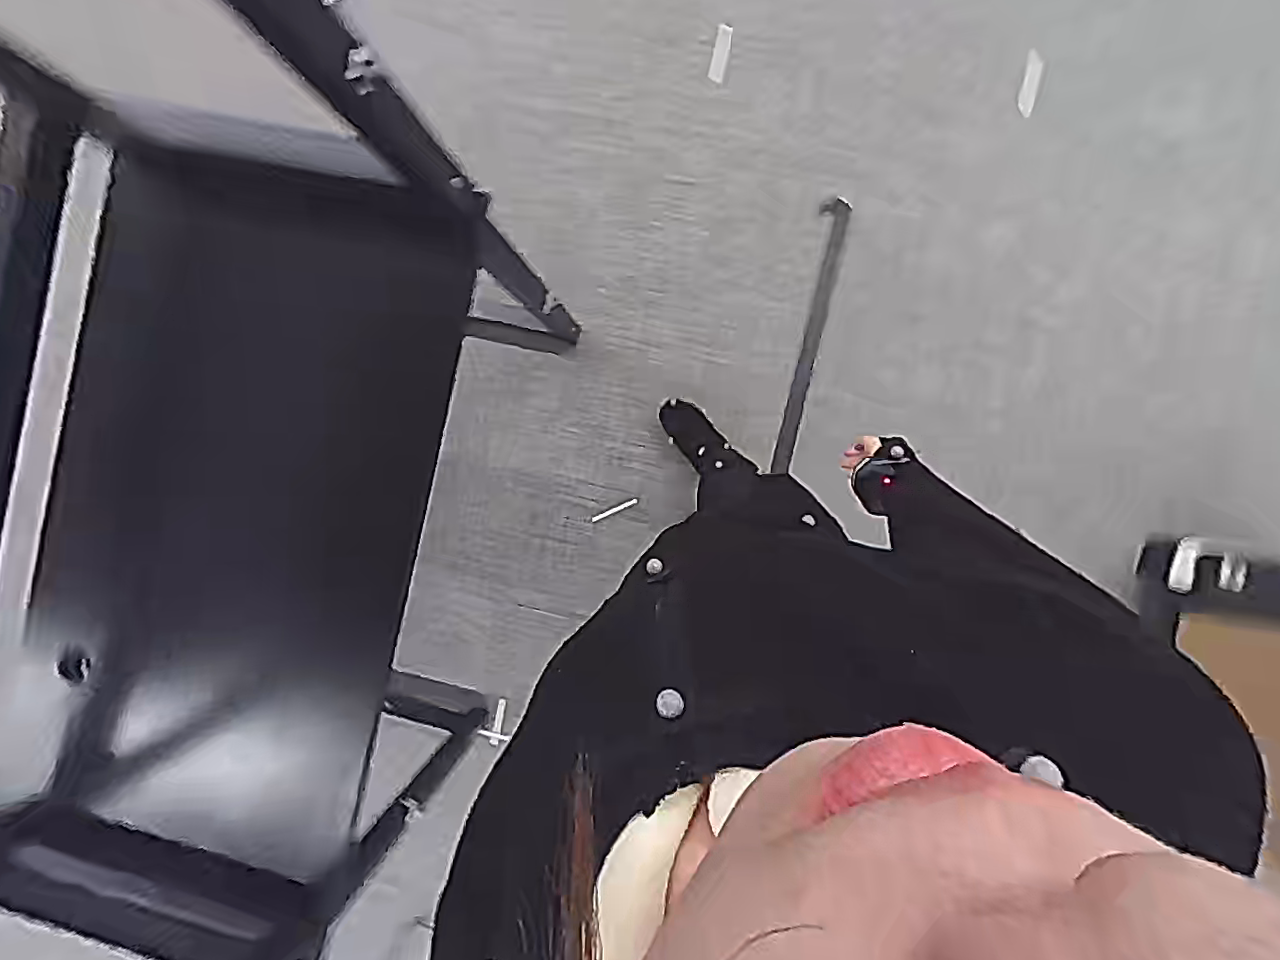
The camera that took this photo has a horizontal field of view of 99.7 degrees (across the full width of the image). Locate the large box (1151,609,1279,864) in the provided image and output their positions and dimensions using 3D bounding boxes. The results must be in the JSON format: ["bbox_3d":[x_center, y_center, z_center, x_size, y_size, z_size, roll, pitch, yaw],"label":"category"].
[{"bbox_3d":[1.318,0.507,1.064,0.320,0.320,0.408,9,91,4],"label":"large box"}]
